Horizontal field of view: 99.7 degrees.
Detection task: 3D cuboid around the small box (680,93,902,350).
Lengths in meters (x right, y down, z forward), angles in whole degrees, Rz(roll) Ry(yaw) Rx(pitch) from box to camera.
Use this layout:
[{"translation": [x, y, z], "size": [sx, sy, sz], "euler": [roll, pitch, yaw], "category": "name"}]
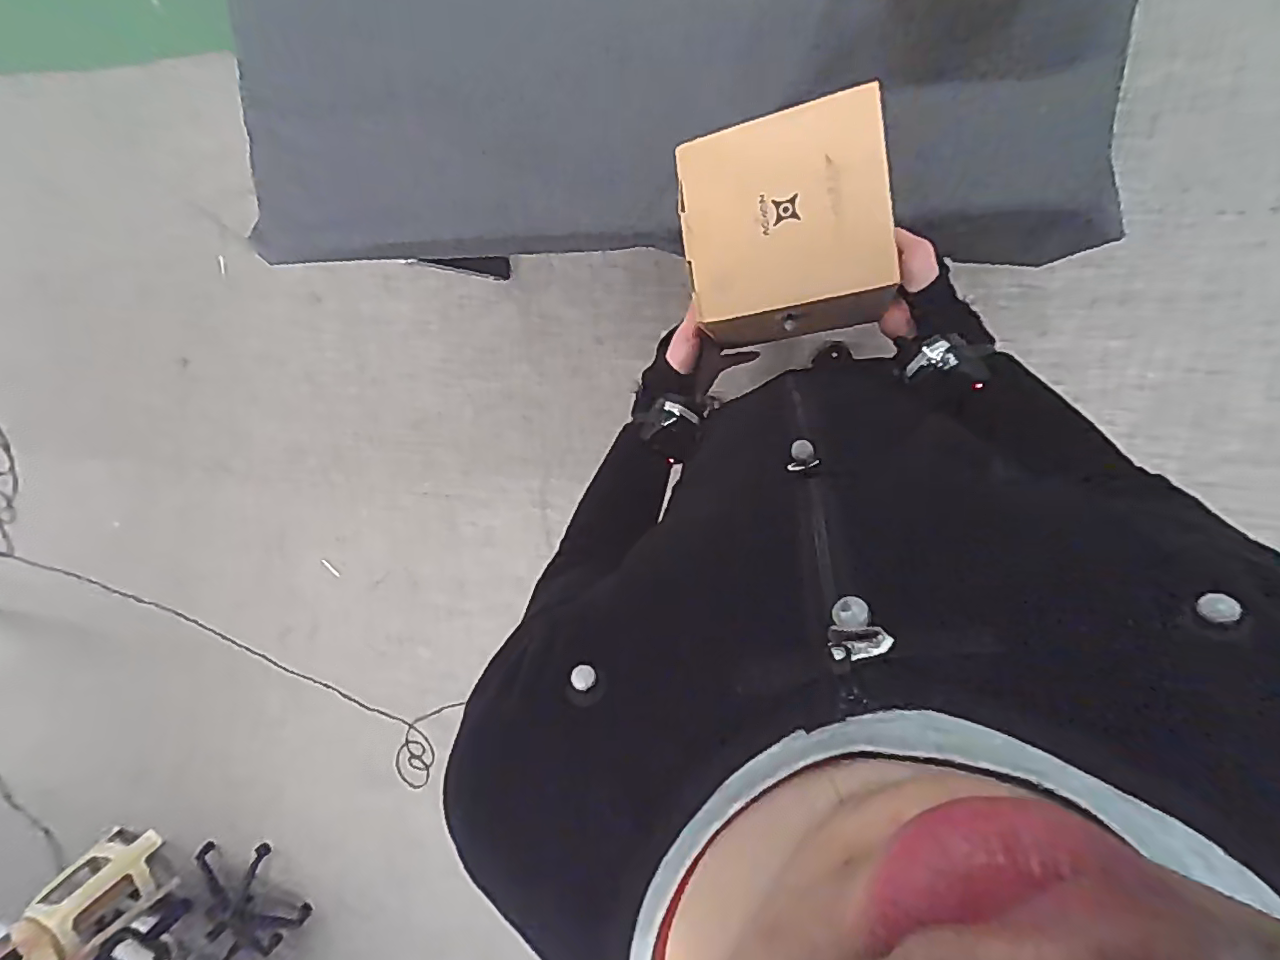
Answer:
[{"translation": [0.153, -0.237, 0.551], "size": [0.179, 0.176, 0.168], "euler": [-8, 93, 18], "category": "small box"}]
